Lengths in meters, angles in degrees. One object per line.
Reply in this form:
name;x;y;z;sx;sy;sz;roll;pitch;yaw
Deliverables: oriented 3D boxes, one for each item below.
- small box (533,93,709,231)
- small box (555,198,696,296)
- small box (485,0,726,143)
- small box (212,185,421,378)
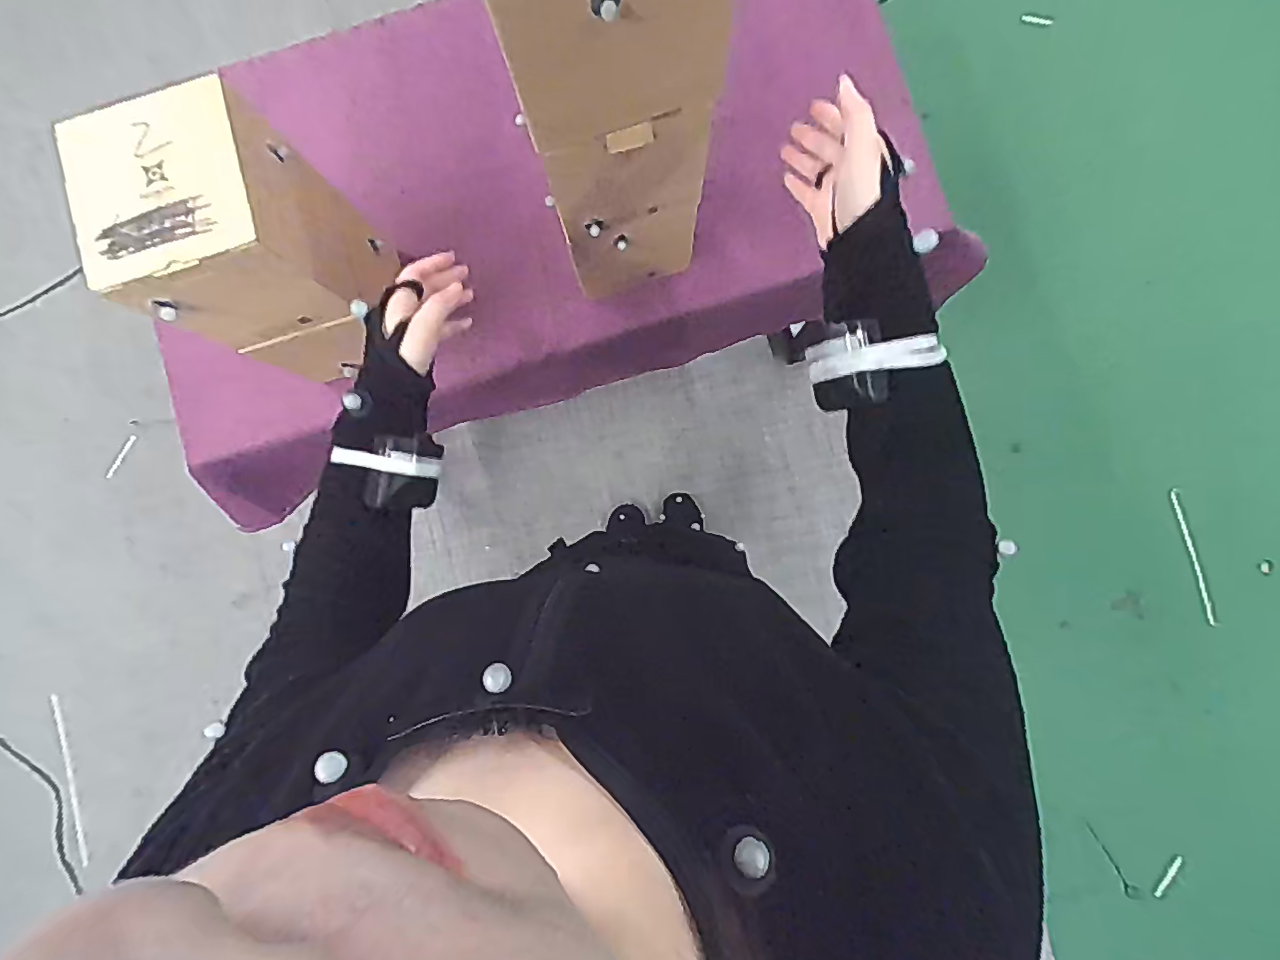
small box;-0.033;-0.395;0.576;0.168;0.176;0.179;-17;86;1
small box;-0.029;-0.384;0.740;0.168;0.176;0.179;-17;86;2
small box;-0.035;-0.399;0.411;0.179;0.176;0.168;-16;88;1
small box;-0.431;-0.260;0.747;0.168;0.176;0.179;-16;87;1
